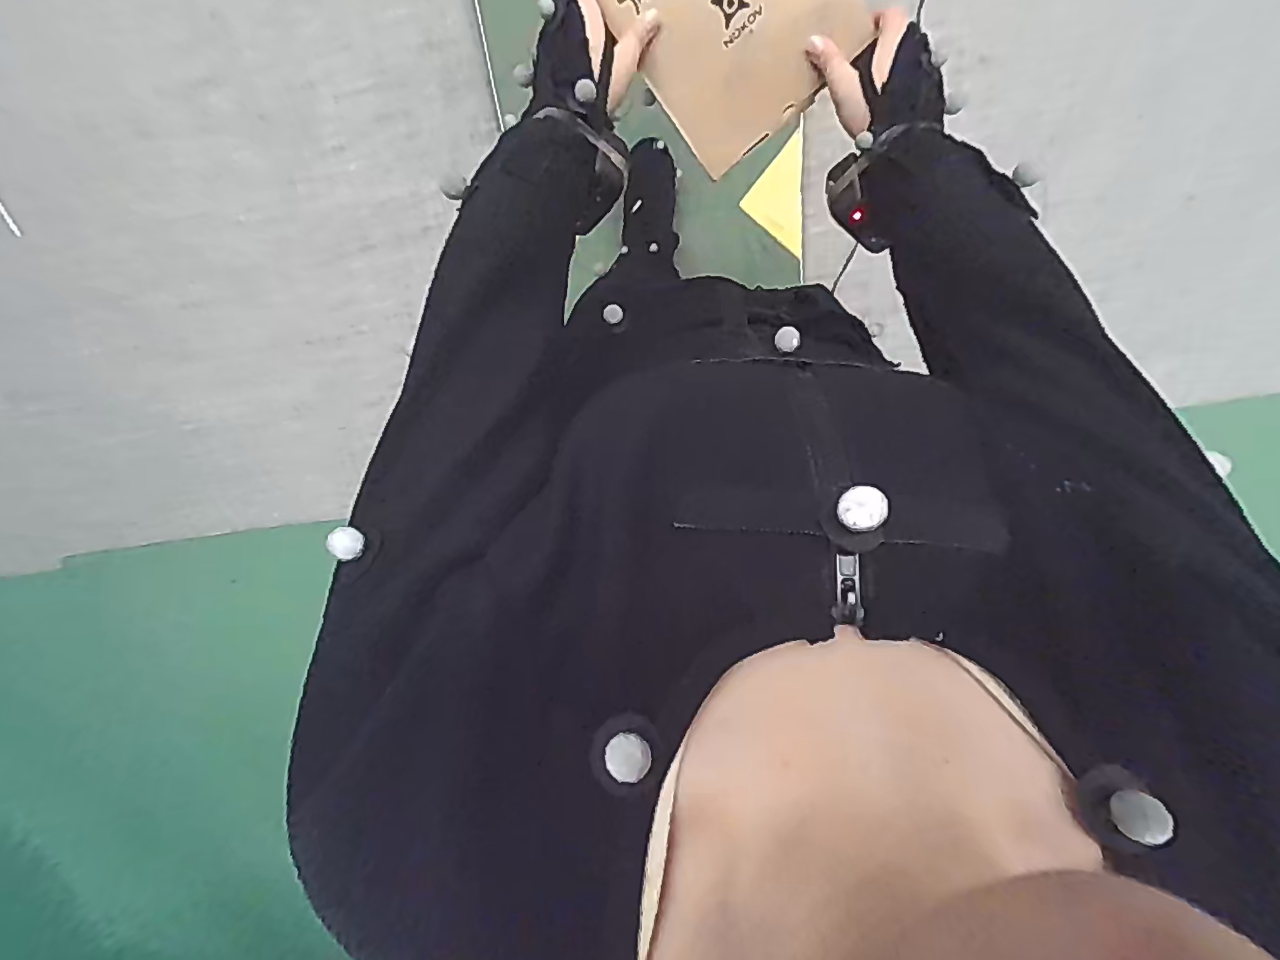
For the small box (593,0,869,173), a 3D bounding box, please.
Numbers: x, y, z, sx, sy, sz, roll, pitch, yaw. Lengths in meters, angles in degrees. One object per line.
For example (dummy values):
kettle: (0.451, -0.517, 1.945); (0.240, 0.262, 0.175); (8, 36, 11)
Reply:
small box: (0.074, -0.427, 0.493); (0.168, 0.176, 0.179); (-33, 120, 24)
